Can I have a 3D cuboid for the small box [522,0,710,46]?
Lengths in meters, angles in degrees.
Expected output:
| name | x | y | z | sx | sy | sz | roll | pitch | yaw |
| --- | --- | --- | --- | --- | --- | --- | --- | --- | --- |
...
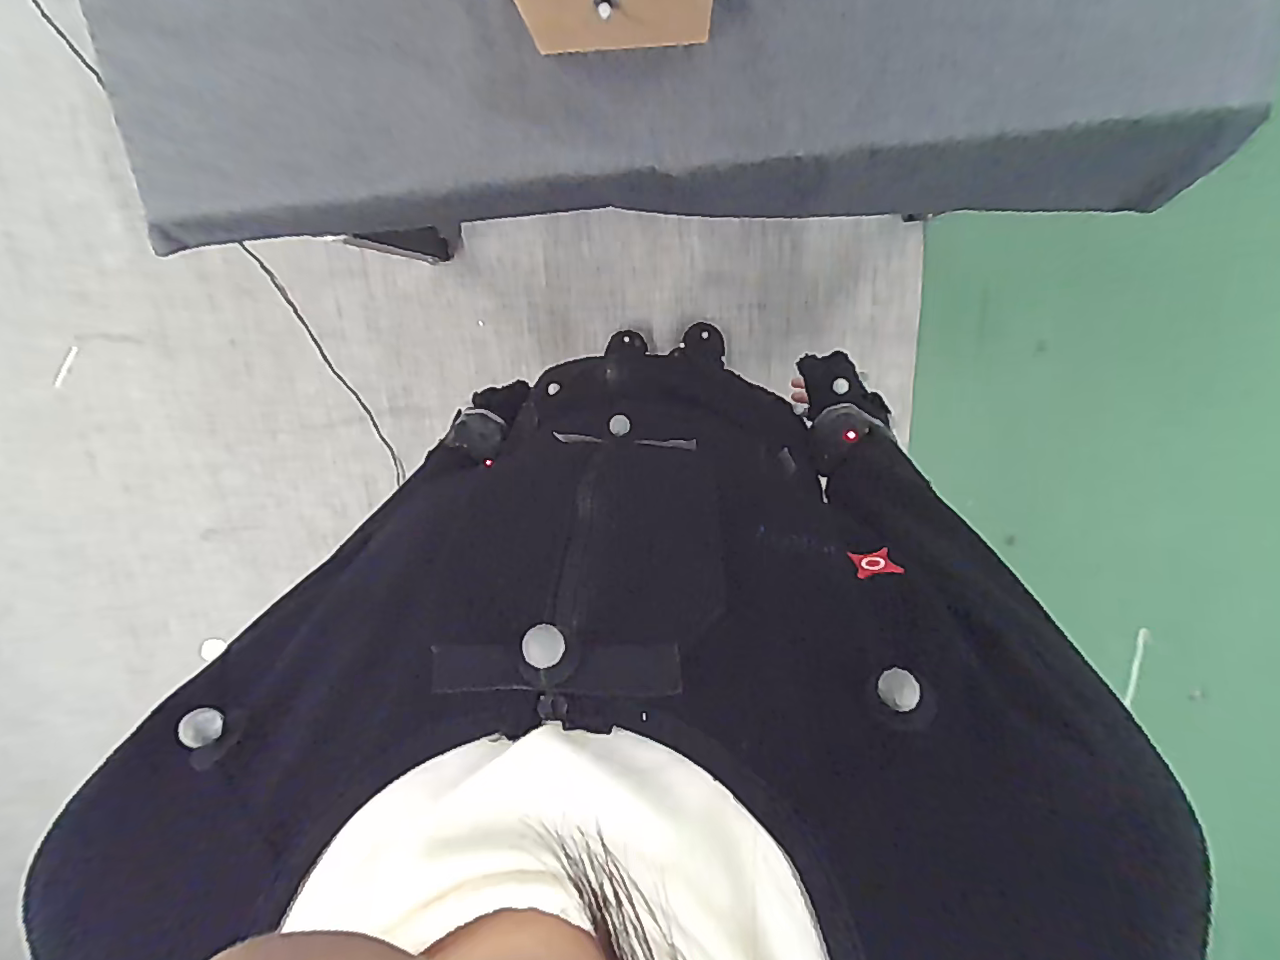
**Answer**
| name | x | y | z | sx | sy | sz | roll | pitch | yaw |
| --- | --- | --- | --- | --- | --- | --- | --- | --- | --- |
| small box | -0.022 | -0.503 | 0.455 | 0.179 | 0.176 | 0.168 | -1 | 106 | 5 |
